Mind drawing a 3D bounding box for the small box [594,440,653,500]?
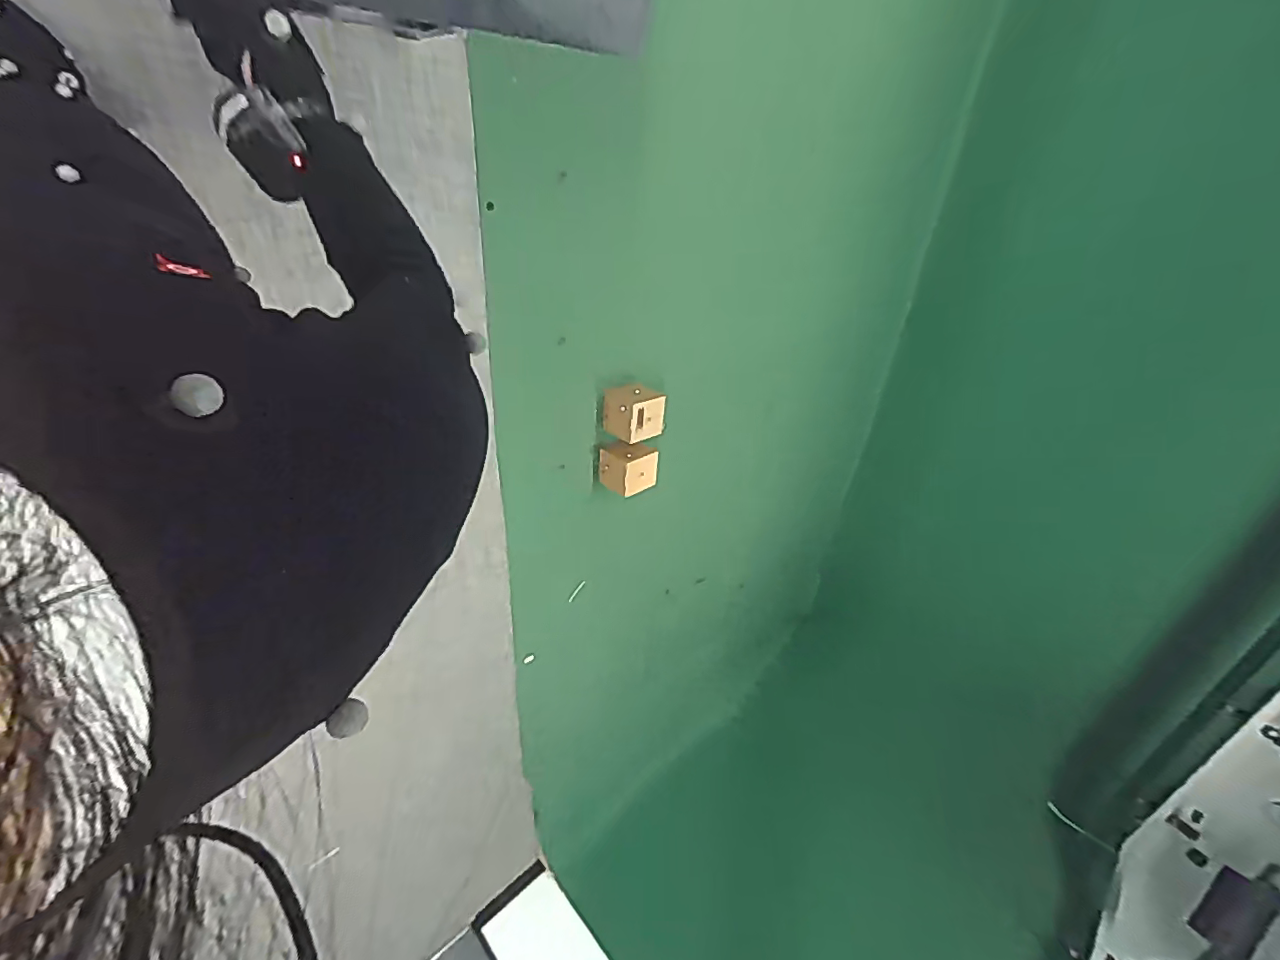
[{"bbox_3d":[-0.071,-0.048,2.258,0.179,0.176,0.168,-24,131,-37],"label":"small box"}]
